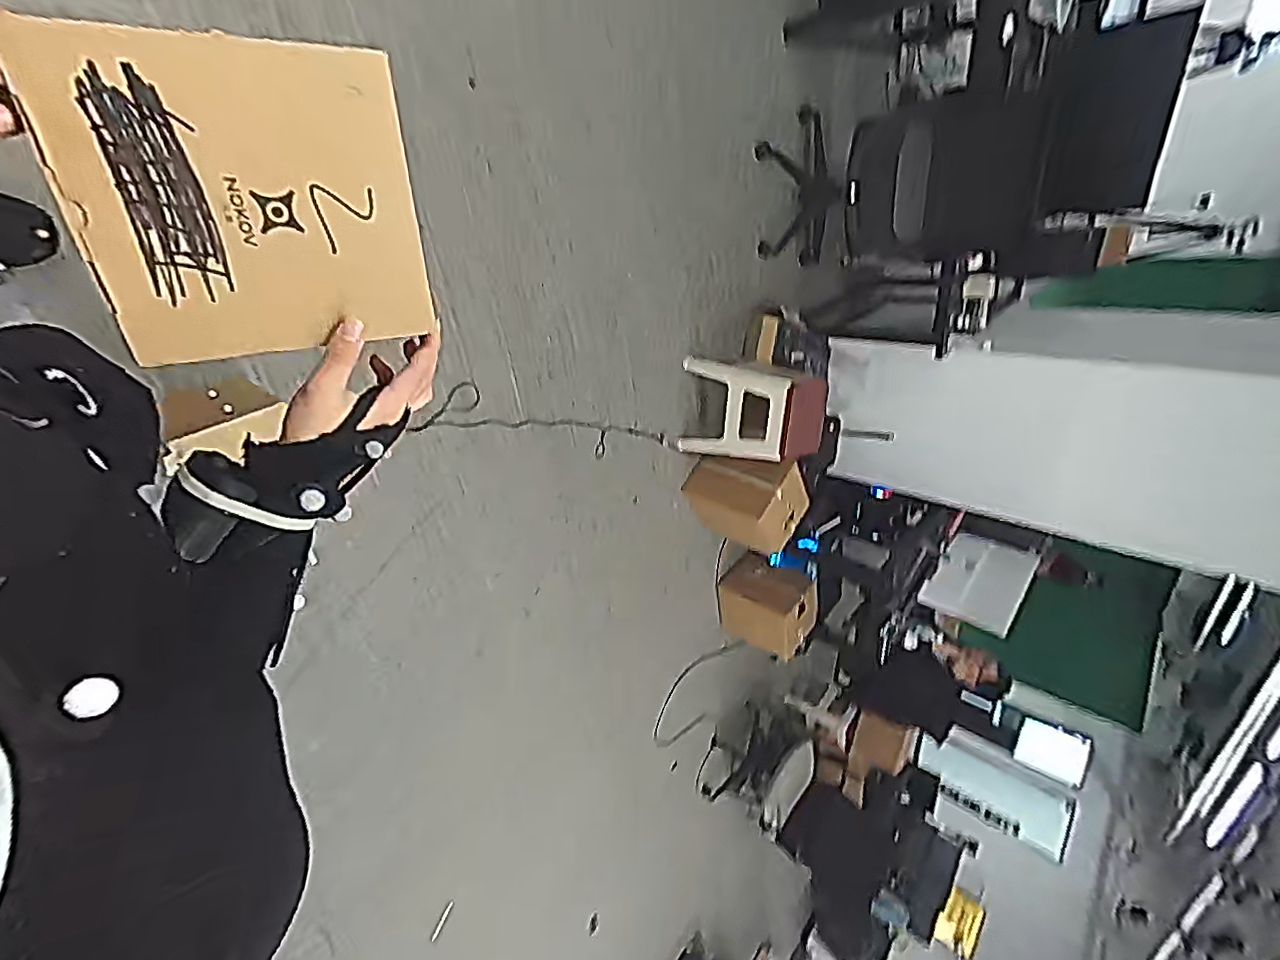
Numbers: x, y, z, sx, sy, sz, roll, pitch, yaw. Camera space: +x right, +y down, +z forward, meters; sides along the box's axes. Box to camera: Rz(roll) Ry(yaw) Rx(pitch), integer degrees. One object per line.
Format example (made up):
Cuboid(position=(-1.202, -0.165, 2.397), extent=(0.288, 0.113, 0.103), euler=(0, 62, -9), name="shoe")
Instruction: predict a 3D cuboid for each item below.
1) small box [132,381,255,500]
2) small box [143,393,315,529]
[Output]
Cuboid(position=(-0.842, -0.086, 1.059), extent=(0.179, 0.176, 0.168), euler=(-31, 126, -37), name="small box")
Cuboid(position=(-0.722, -0.044, 0.954), extent=(0.179, 0.176, 0.168), euler=(-33, 127, -36), name="small box")
